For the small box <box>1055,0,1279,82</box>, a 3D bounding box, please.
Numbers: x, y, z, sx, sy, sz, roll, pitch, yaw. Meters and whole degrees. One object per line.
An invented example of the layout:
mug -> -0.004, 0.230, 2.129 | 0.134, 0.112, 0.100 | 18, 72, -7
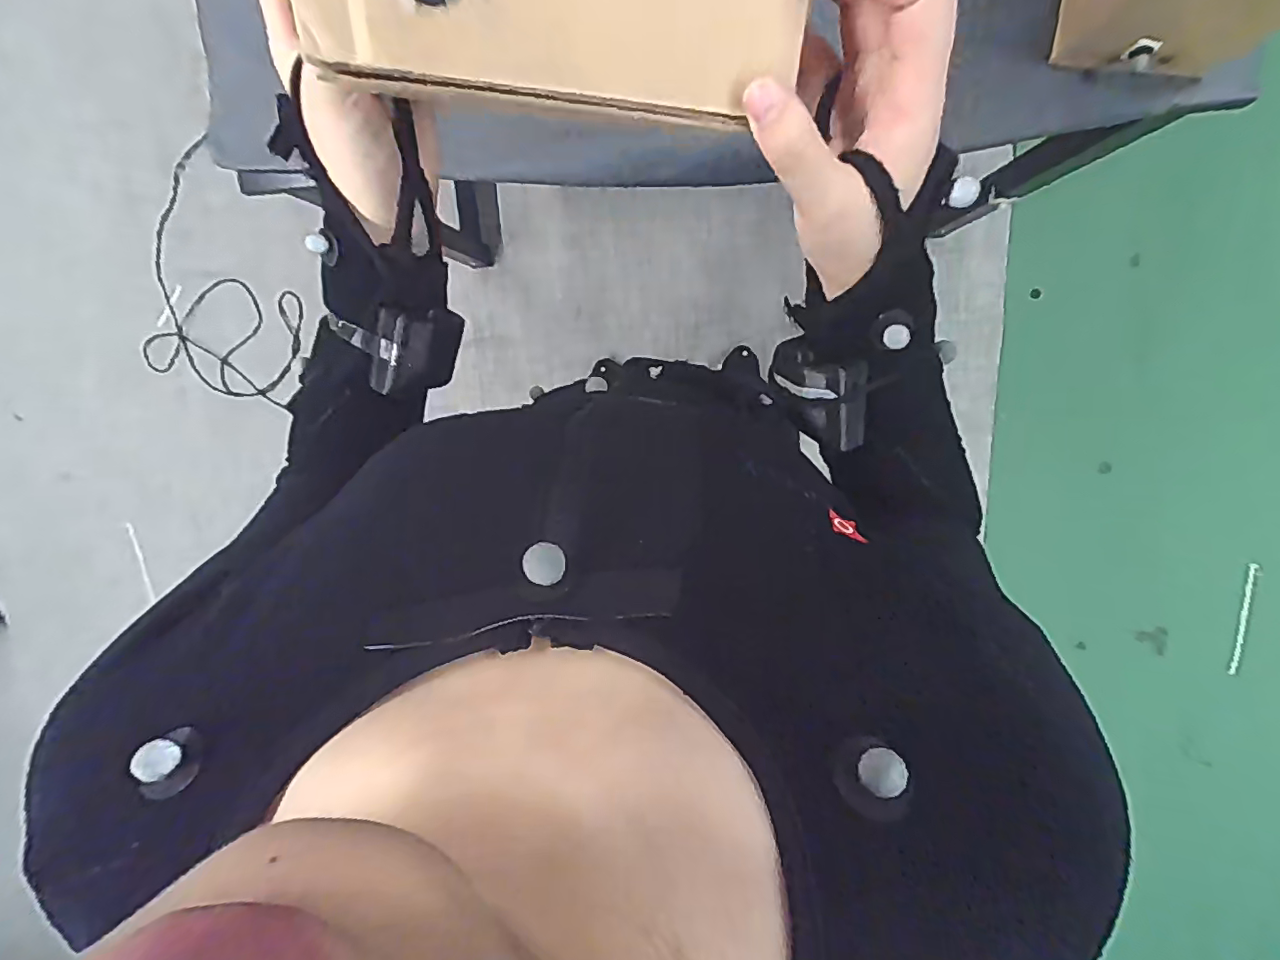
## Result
small box -> 0.526, -0.508, 0.490 | 0.168, 0.176, 0.179 | 8, 100, 6
